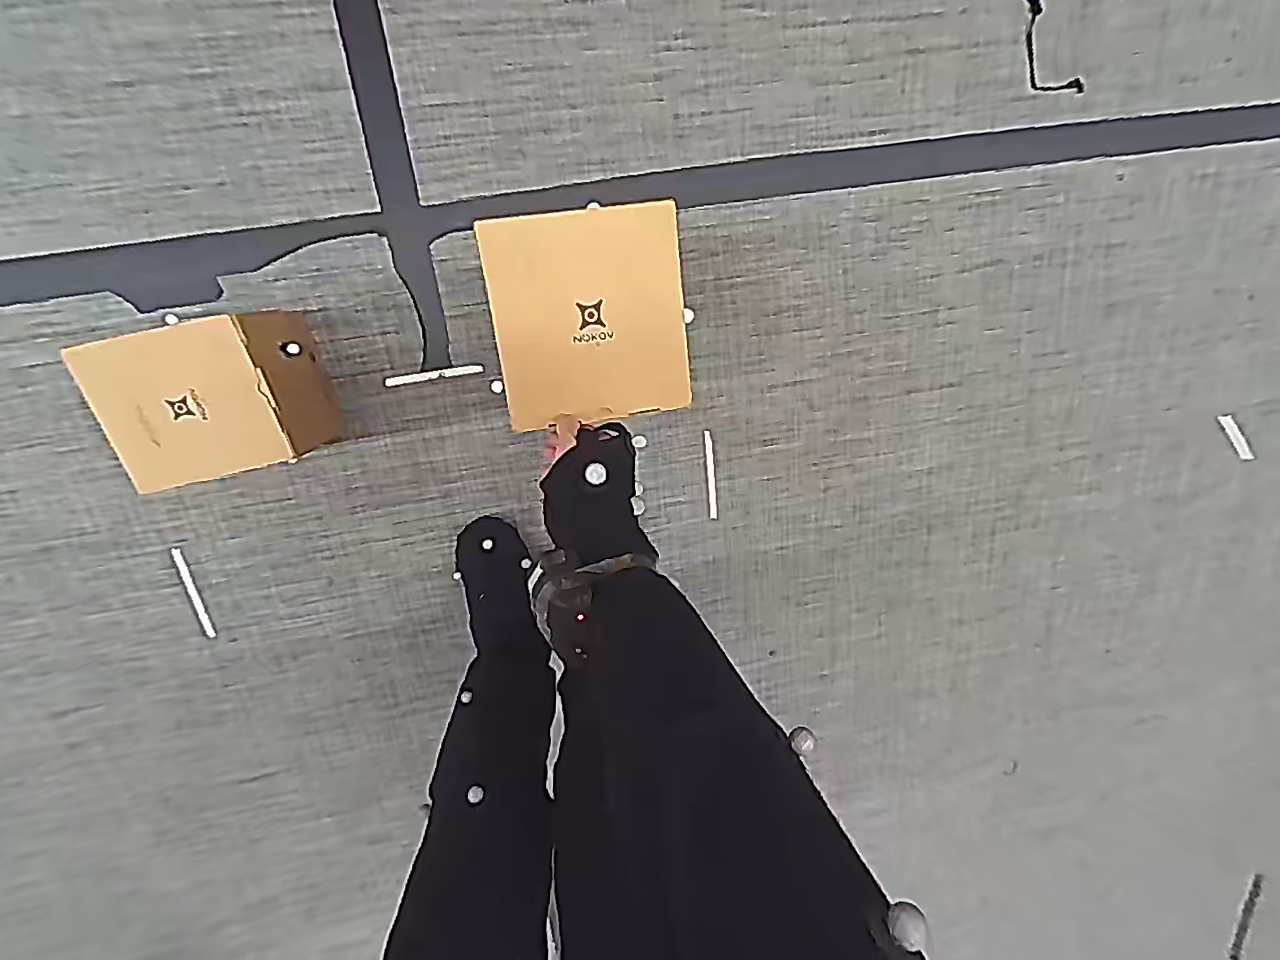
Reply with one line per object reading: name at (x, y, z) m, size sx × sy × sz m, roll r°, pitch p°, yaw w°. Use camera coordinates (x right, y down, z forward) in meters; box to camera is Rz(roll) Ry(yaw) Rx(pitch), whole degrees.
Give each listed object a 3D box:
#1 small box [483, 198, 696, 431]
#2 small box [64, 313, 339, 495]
small box at (-0.051, -0.161, 0.534) m, size 0.168 × 0.176 × 0.179 m, roll -10°, pitch 110°, yaw -7°
small box at (-0.495, -0.102, 0.653) m, size 0.179 × 0.176 × 0.168 m, roll -14°, pitch 109°, yaw -3°
